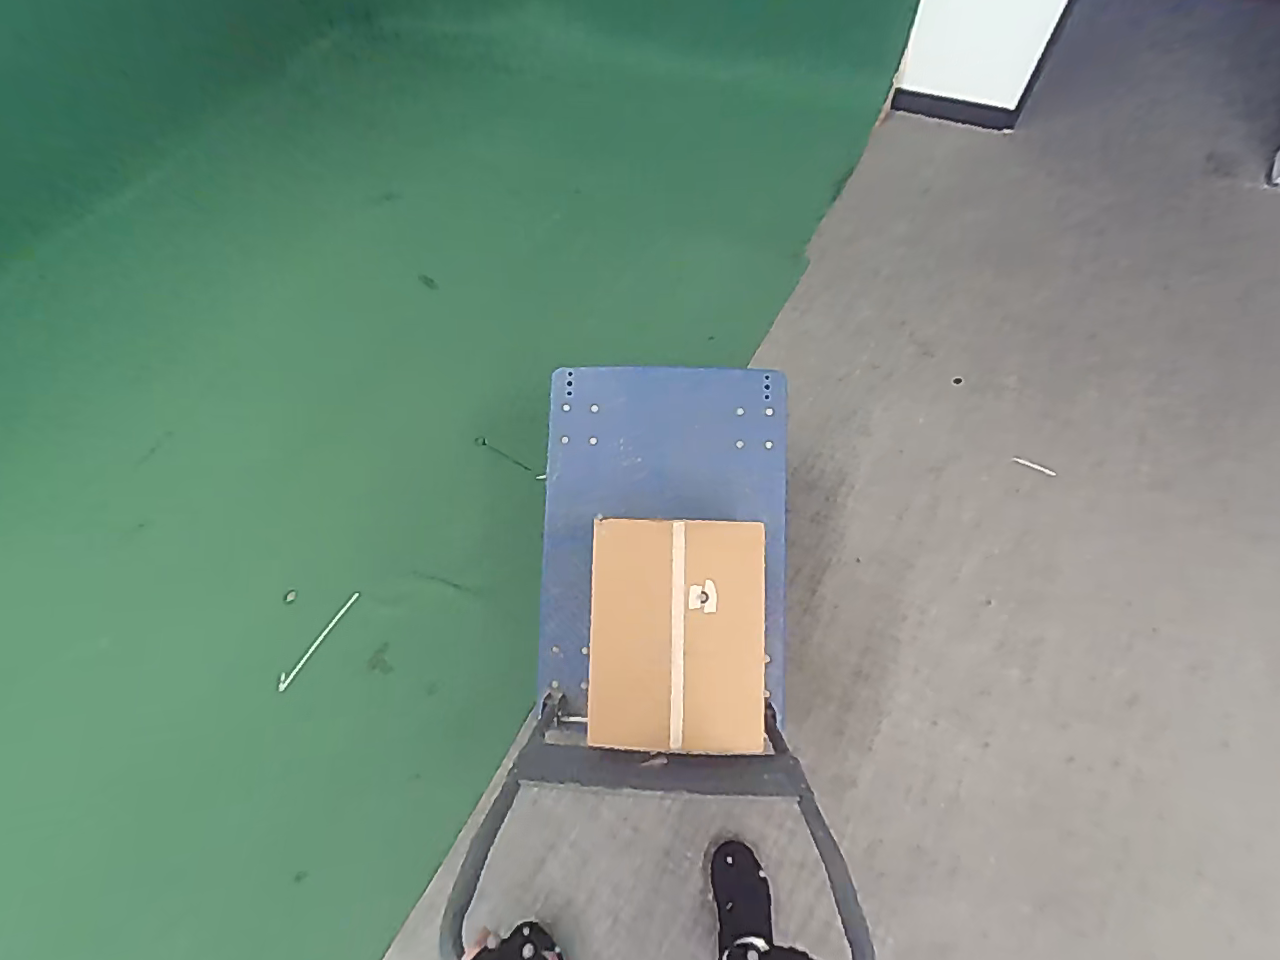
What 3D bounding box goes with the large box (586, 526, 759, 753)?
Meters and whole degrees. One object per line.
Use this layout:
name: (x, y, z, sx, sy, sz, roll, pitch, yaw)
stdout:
large box: (0.069, 0.305, 1.135, 0.320, 0.320, 0.408, 2, 84, 3)
